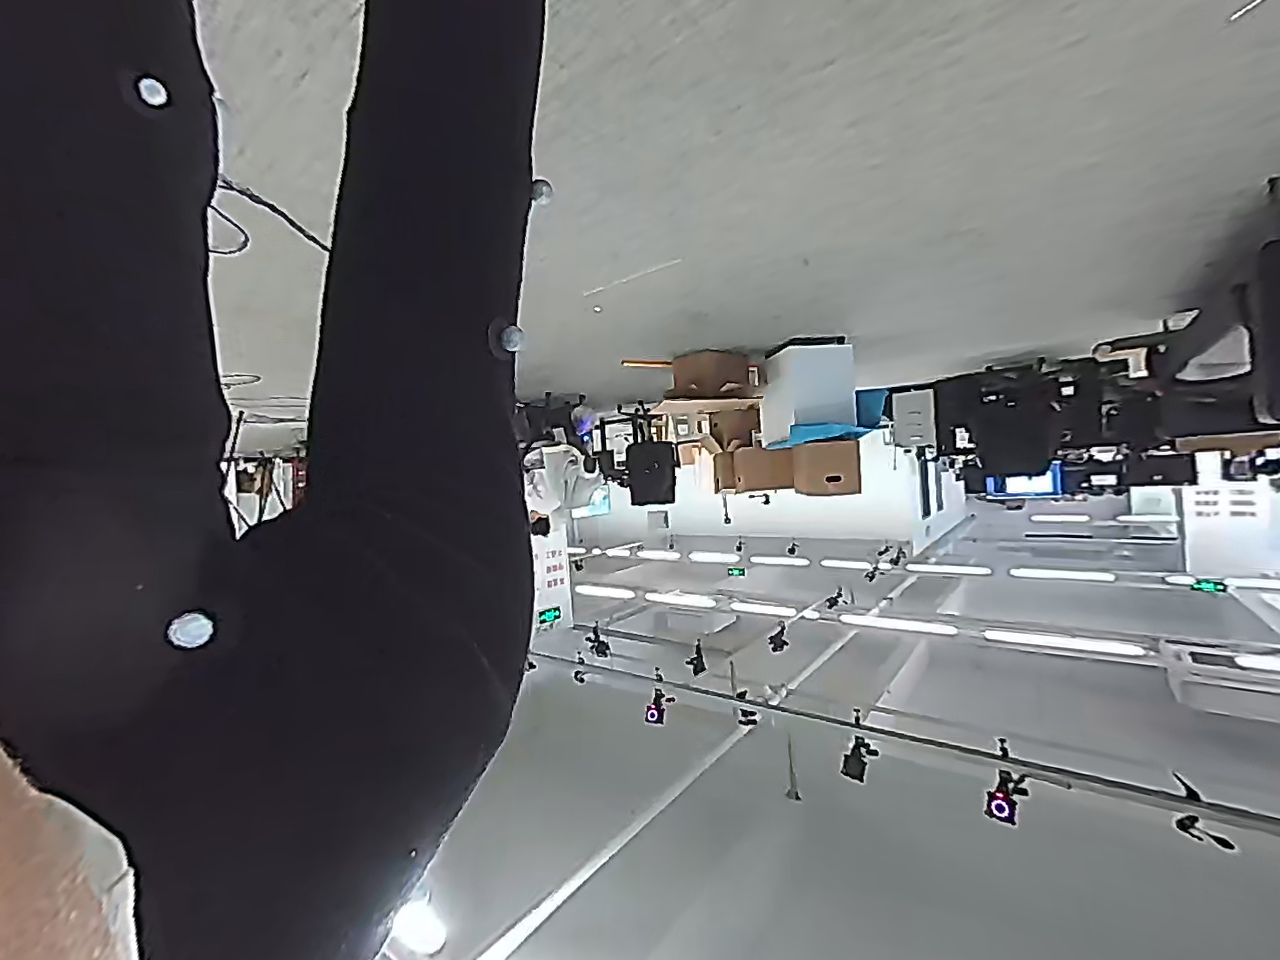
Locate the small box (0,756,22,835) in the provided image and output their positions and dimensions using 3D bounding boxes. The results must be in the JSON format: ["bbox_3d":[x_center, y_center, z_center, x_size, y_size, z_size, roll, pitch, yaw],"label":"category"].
[{"bbox_3d":[-1.867,0.906,1.517,0.179,0.176,0.168,-2,-178,40],"label":"small box"}]
